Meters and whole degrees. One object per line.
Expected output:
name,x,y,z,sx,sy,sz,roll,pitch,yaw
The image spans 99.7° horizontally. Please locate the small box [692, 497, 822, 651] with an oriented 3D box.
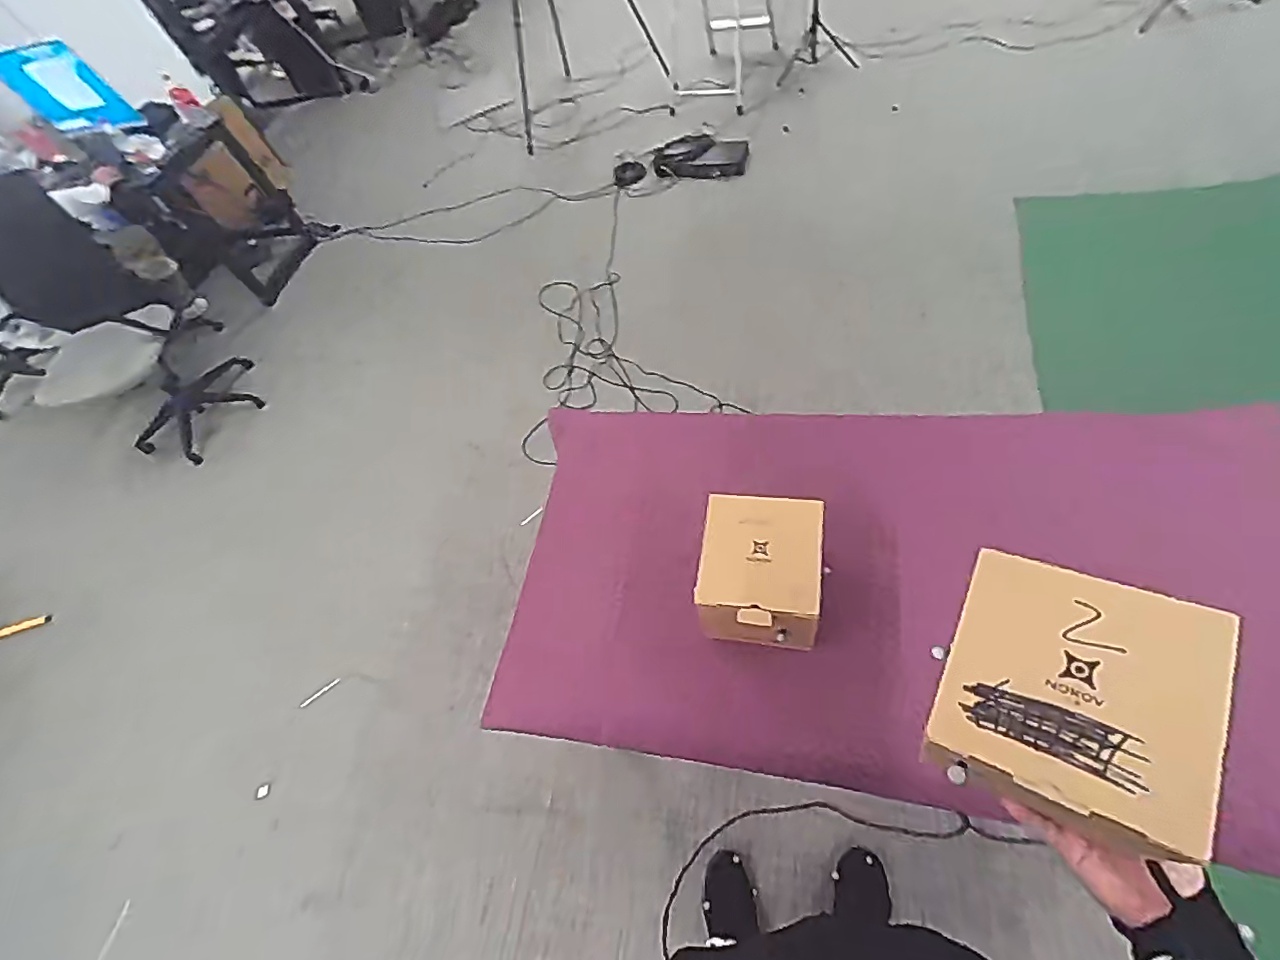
small box,0.184,0.147,0.825,0.168,0.176,0.179,4,59,16
